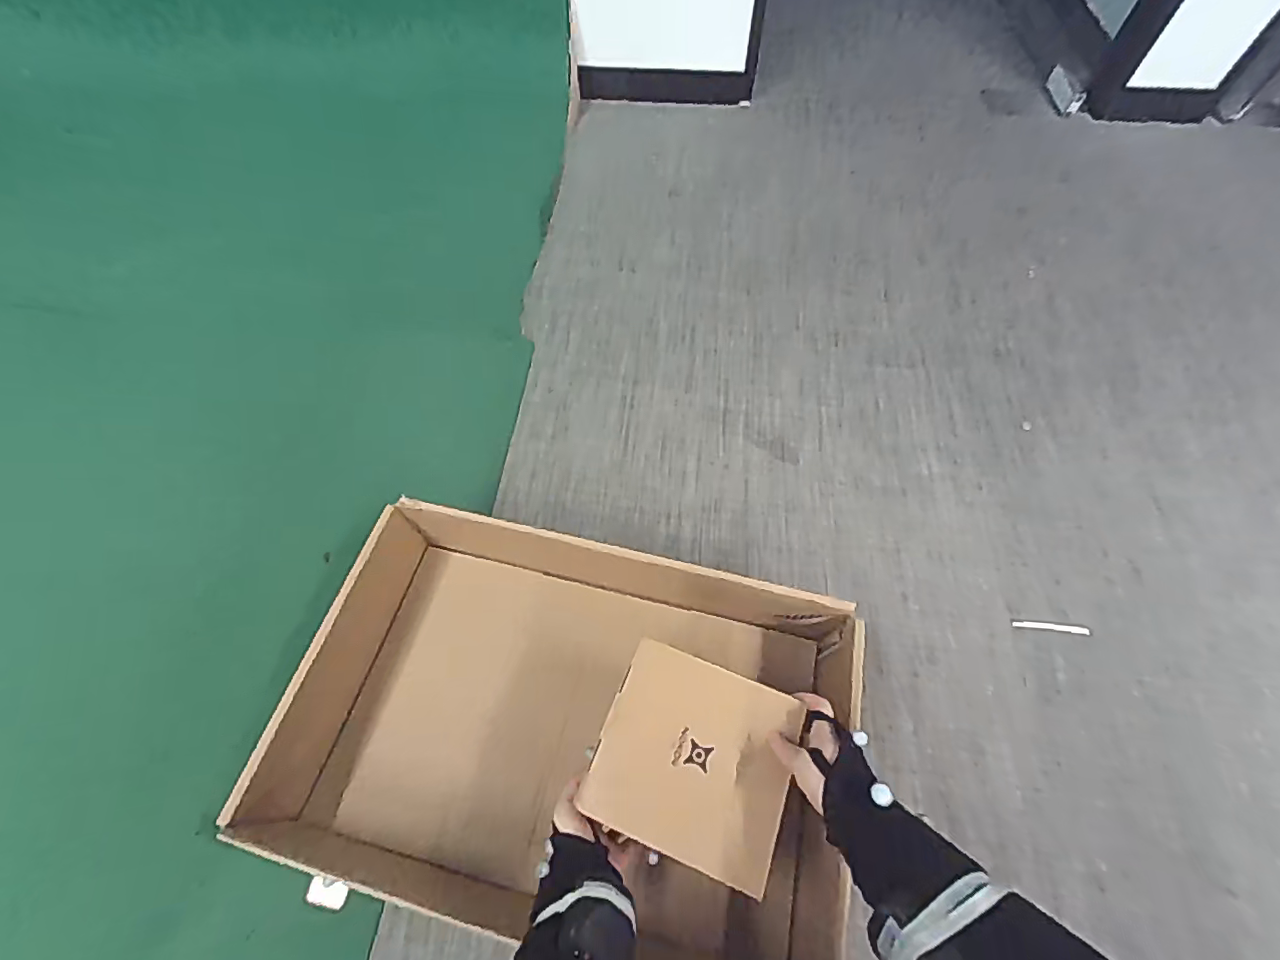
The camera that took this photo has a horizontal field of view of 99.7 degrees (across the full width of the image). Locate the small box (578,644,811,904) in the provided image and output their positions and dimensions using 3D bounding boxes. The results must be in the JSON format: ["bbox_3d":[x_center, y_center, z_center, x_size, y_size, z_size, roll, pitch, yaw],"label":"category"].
[{"bbox_3d":[0.055,0.299,0.566,0.179,0.176,0.168,20,63,11],"label":"small box"}]
